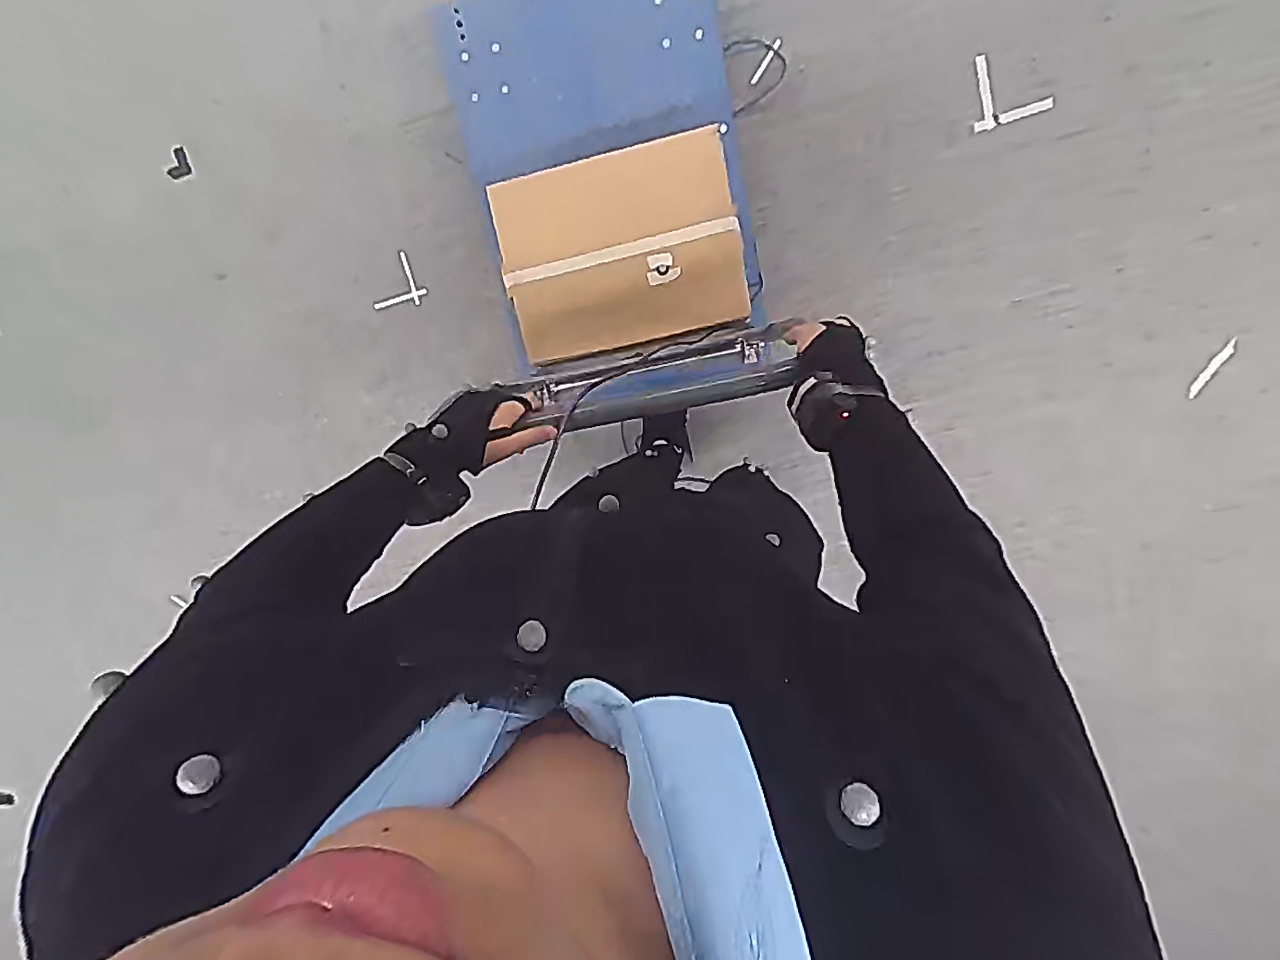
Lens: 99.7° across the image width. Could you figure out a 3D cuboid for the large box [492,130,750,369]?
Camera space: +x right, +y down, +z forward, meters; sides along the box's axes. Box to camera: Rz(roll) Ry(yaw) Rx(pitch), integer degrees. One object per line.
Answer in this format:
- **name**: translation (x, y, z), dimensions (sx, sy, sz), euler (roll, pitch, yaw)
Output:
- **large box**: translation (-0.024, -0.420, 1.083), dimensions (0.408, 0.320, 0.320), euler (-12, 101, 5)
